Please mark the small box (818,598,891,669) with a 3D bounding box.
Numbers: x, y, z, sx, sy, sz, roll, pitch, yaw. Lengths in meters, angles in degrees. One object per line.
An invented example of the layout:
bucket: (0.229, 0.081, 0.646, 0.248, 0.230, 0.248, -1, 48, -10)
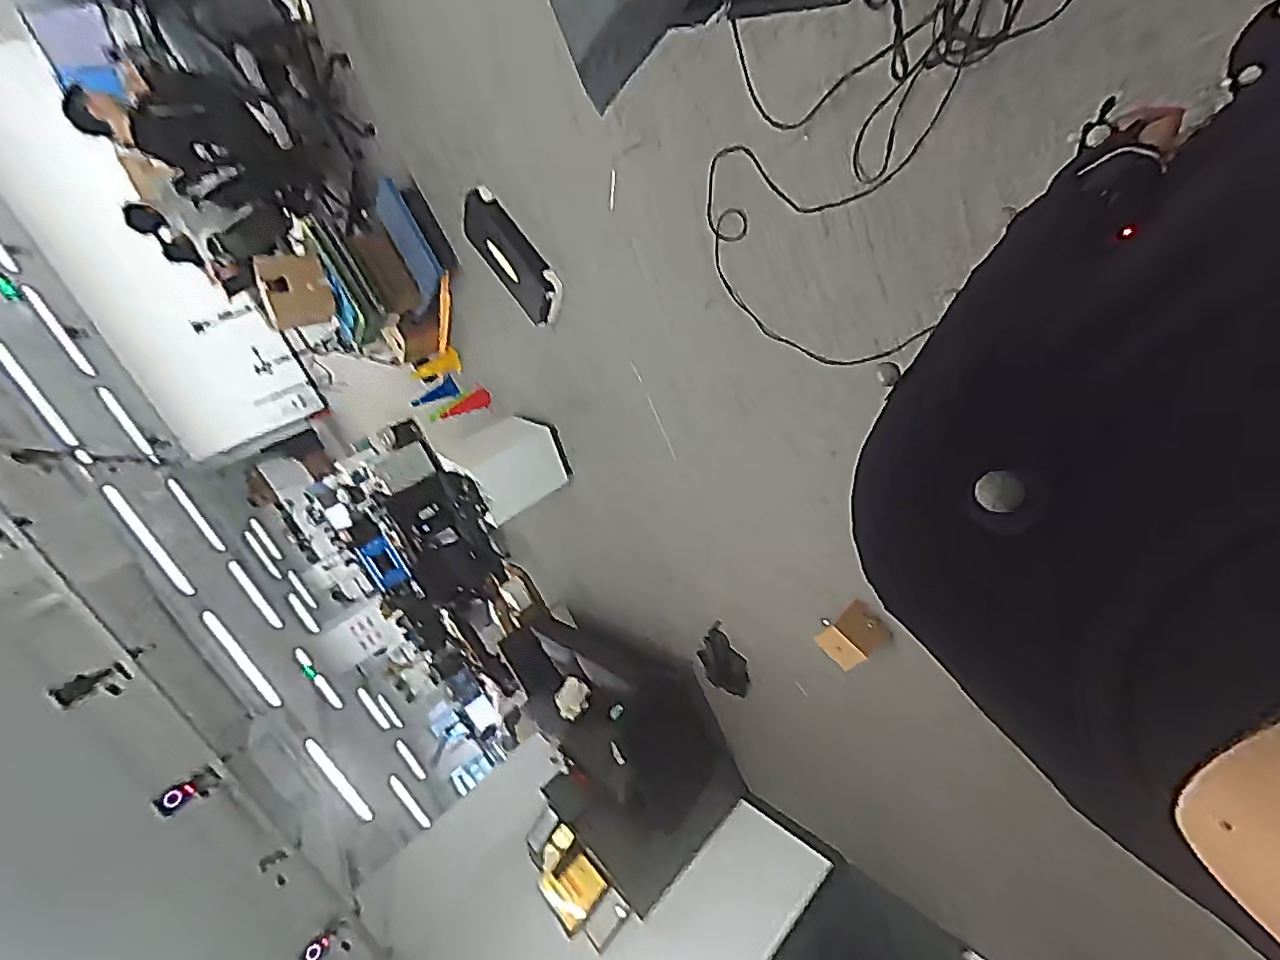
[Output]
small box: (0.826, 0.588, 2.079, 0.168, 0.176, 0.179, 43, 149, 20)
